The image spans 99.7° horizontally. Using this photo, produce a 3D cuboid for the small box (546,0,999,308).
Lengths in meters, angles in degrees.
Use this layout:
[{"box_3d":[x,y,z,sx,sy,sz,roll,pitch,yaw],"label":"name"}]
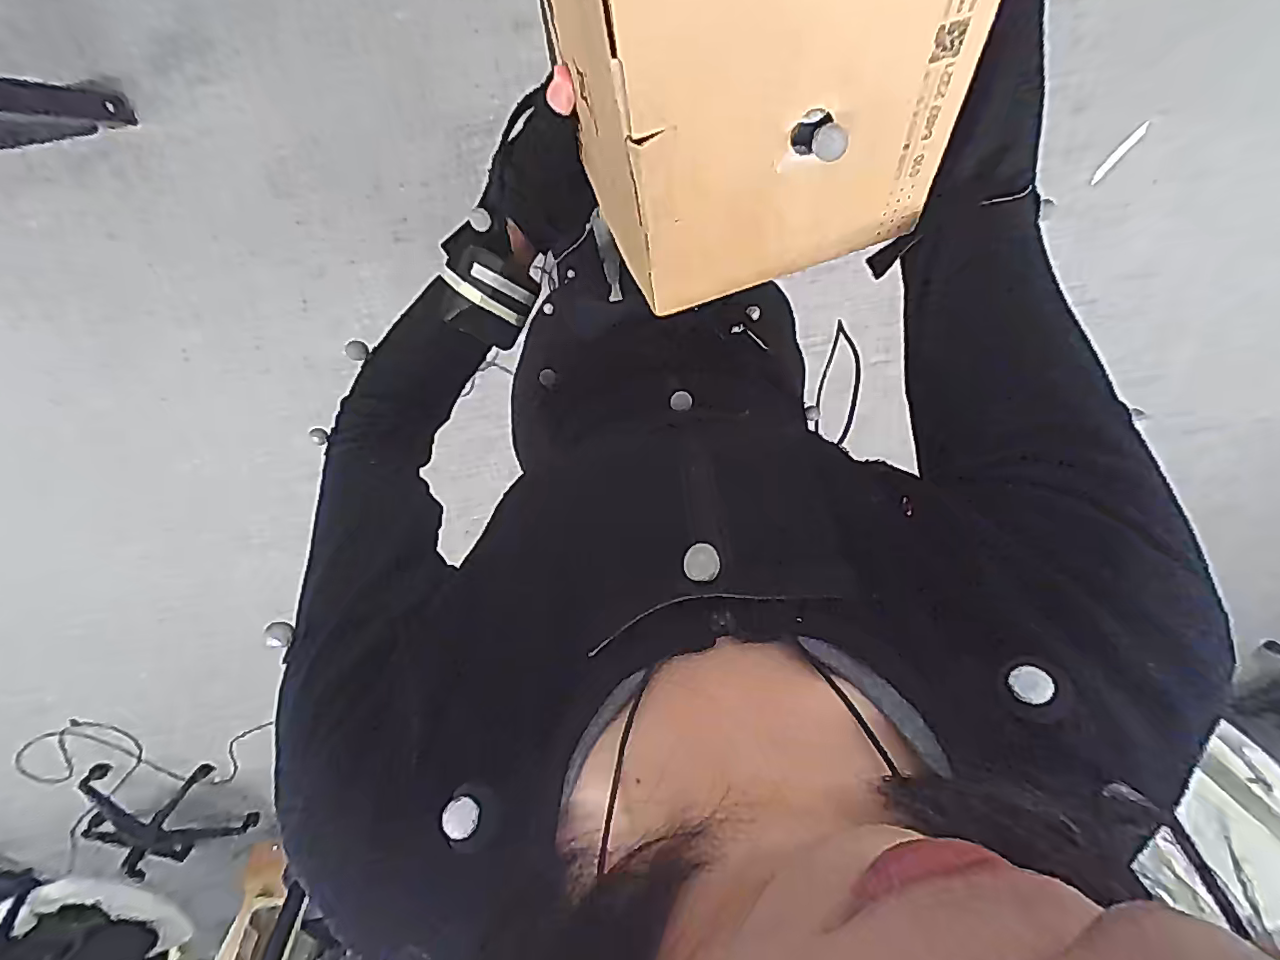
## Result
[{"box_3d":[0.053,-0.229,0.279,0.176,0.179,0.168,-19,152,-4],"label":"small box"}]
